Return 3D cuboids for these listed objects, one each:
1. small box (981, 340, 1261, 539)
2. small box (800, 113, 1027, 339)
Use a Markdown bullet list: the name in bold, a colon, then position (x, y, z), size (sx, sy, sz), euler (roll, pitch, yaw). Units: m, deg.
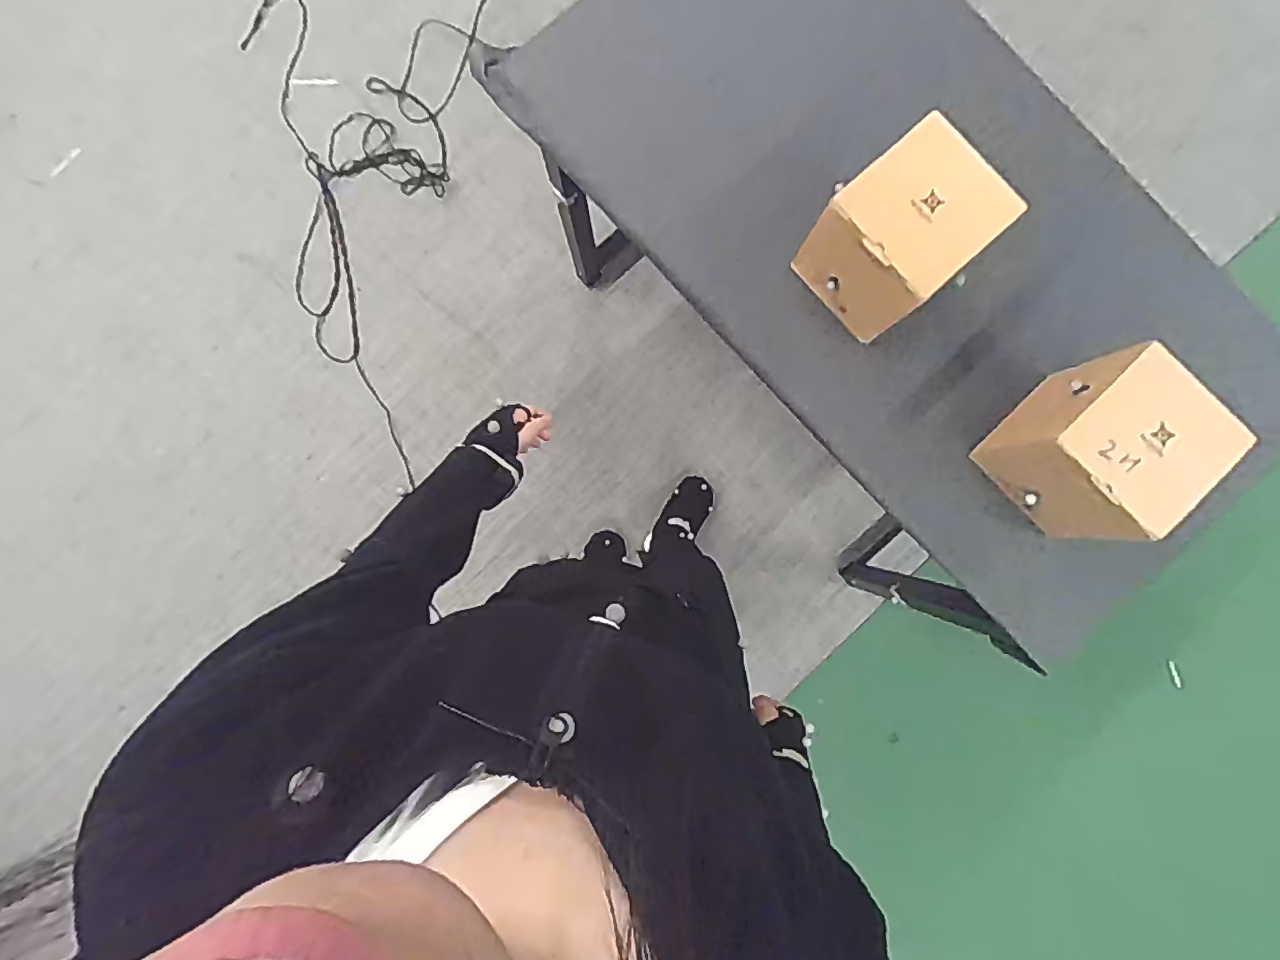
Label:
- **small box**: position (0.600, -0.044, 0.703), size (0.179, 0.176, 0.168), euler (-43, 86, -2)
- **small box**: position (0.346, -0.323, 0.724), size (0.179, 0.176, 0.168), euler (-42, 88, -2)
